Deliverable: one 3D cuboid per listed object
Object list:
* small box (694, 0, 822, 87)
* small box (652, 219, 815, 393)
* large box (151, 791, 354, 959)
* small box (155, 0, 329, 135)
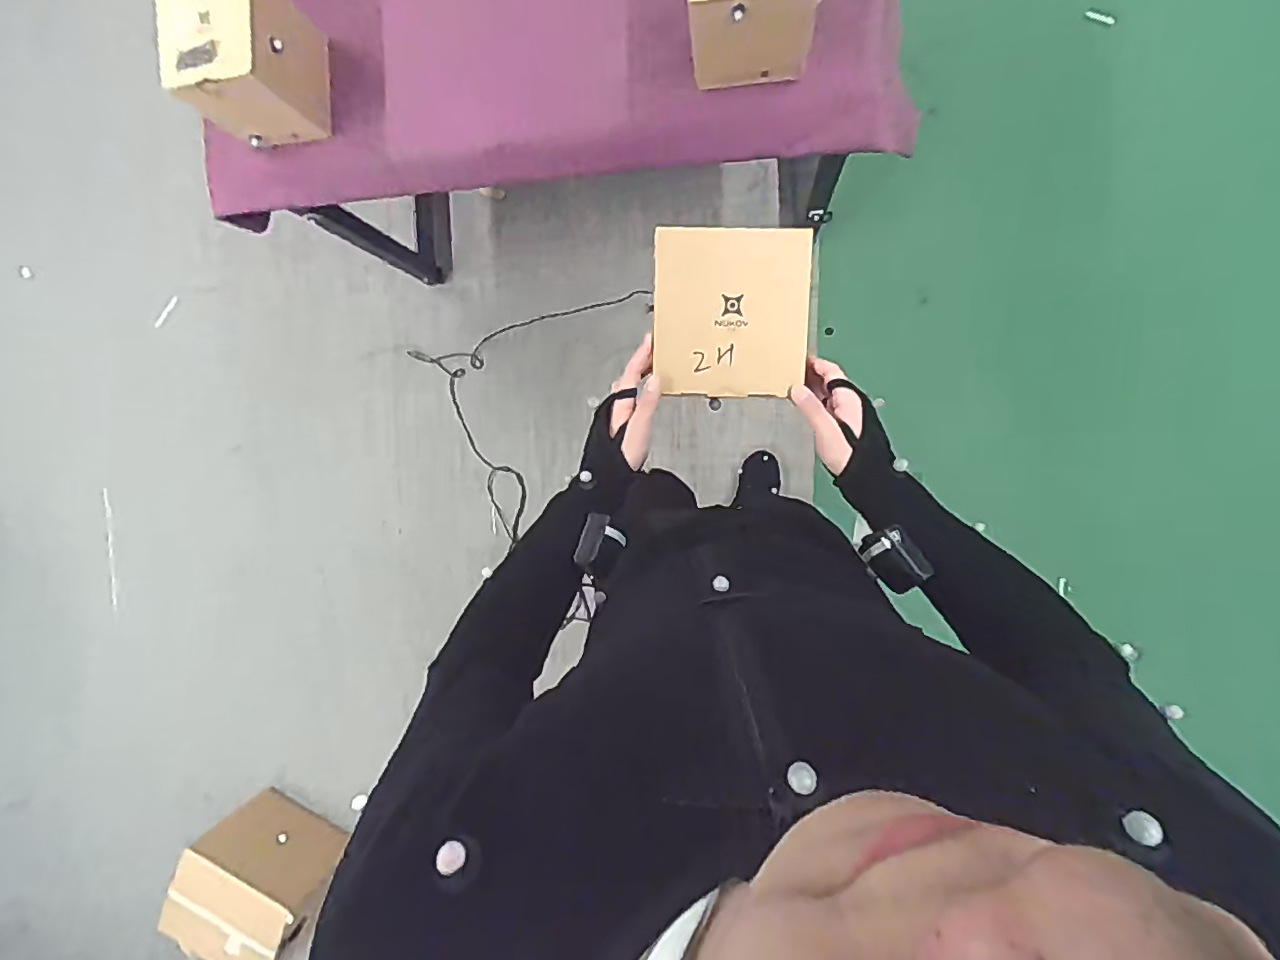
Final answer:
[{"bbox_3d":[0.163,-0.699,0.756,0.168,0.176,0.179,2,91,11],"label":"small box"},{"bbox_3d":[0.099,-0.195,0.648,0.168,0.176,0.179,1,100,1],"label":"small box"},{"bbox_3d":[-1.254,1.326,1.777,0.408,0.320,0.320,24,97,6],"label":"large box"},{"bbox_3d":[-0.642,-0.698,0.890,0.168,0.176,0.179,0,92,9],"label":"small box"}]
